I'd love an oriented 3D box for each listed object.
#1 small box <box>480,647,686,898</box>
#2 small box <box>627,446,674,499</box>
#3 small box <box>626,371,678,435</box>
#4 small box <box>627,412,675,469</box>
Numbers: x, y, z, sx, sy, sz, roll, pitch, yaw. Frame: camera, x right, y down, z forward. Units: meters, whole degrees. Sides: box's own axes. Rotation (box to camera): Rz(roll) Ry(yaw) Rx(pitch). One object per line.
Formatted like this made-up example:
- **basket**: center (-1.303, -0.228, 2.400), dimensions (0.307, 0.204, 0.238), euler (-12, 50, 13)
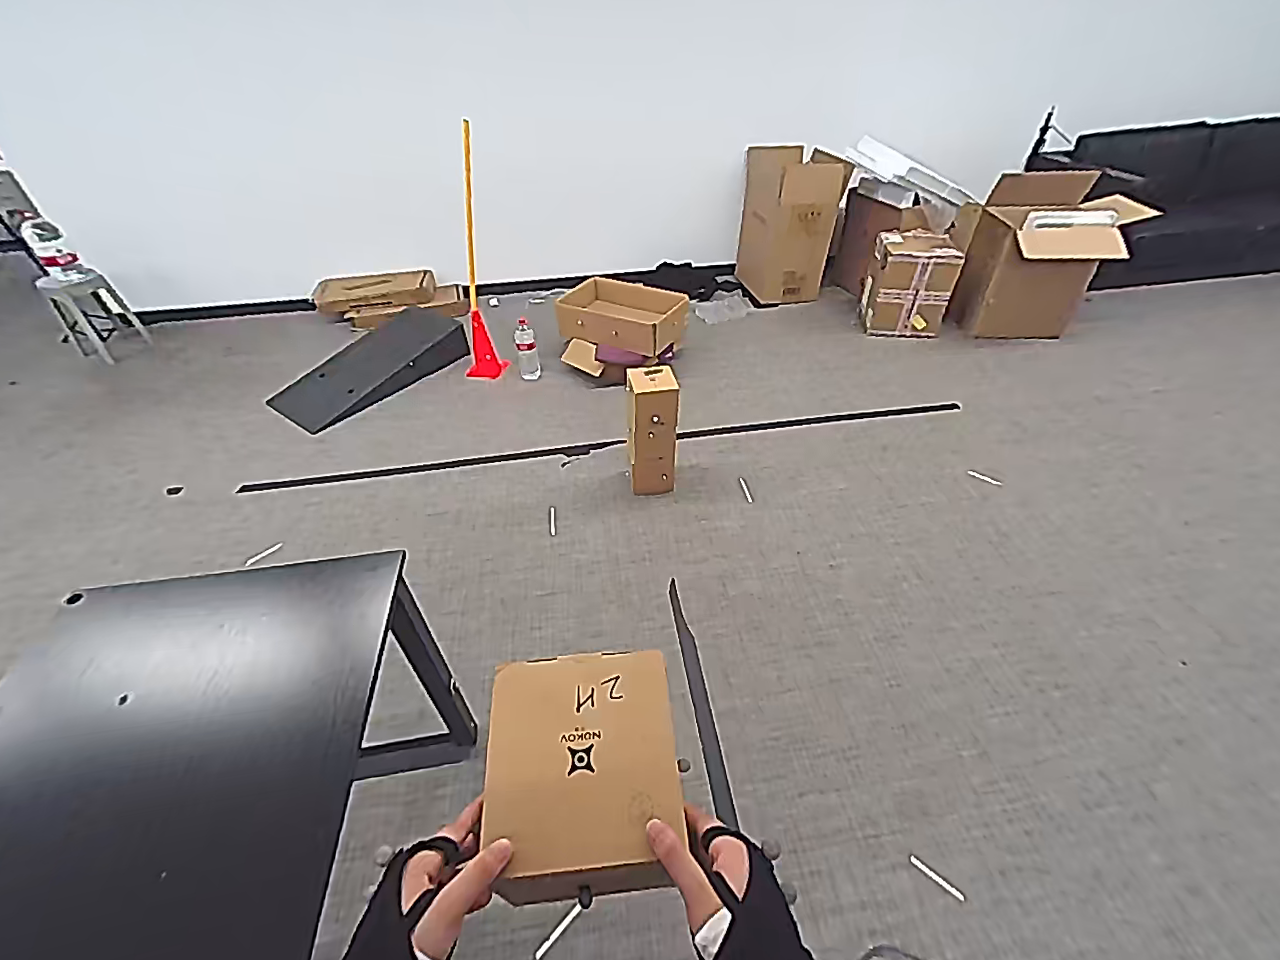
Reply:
- **small box**: center (-0.050, 0.290, 0.532), dimensions (0.168, 0.176, 0.179), euler (-5, 46, -4)
- **small box**: center (0.043, -0.041, 2.260), dimensions (0.179, 0.176, 0.168), euler (-8, 40, -5)
- **small box**: center (0.041, -0.293, 2.047), dimensions (0.168, 0.176, 0.179), euler (-8, 41, -7)
- **small box**: center (0.041, -0.166, 2.153), dimensions (0.168, 0.176, 0.179), euler (-8, 40, -7)
